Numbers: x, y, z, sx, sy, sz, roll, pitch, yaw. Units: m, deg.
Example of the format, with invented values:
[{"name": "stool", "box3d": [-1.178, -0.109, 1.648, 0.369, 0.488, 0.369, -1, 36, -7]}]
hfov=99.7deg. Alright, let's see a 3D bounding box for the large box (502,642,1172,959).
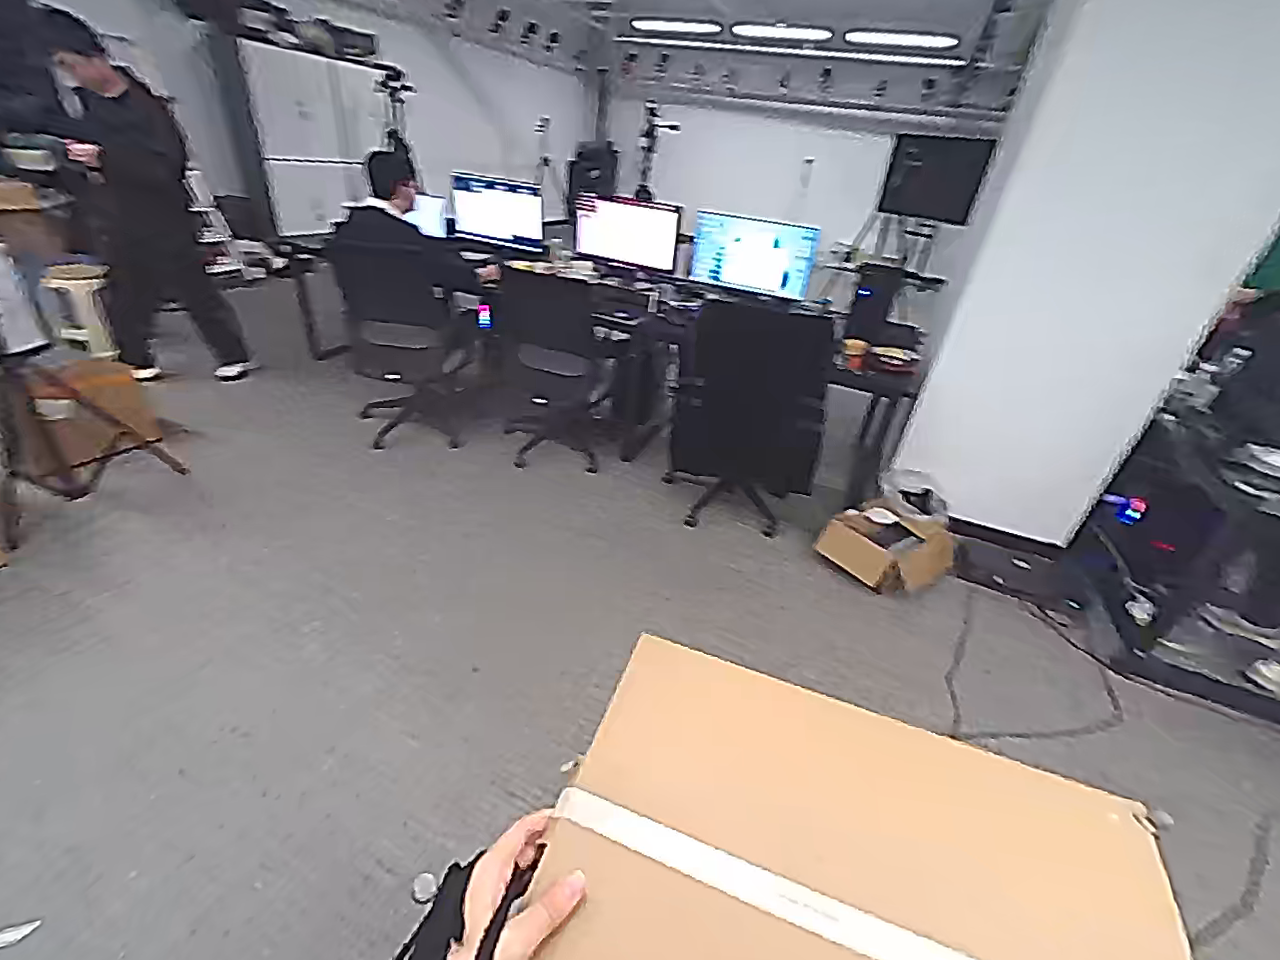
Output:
[{"name": "large box", "box3d": [0.125, 0.403, 0.449, 0.408, 0.320, 0.320, 15, 42, 15]}]
